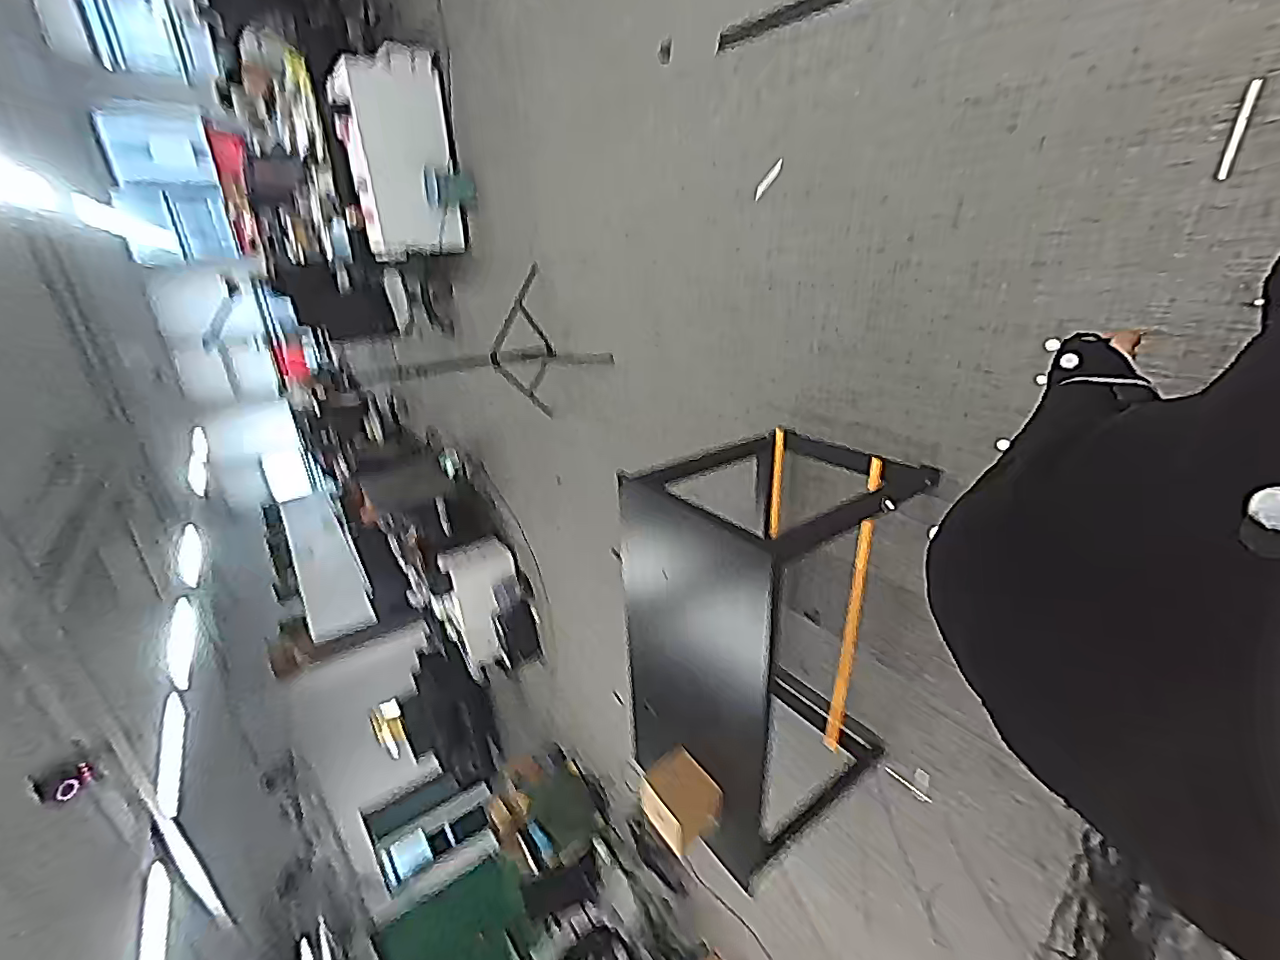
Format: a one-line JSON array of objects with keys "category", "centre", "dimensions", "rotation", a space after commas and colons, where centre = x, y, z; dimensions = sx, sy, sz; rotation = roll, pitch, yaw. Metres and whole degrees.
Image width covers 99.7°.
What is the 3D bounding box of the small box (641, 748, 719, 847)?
[{"category": "small box", "centre": [0.118, 0.962, 1.662], "dimensions": [0.179, 0.176, 0.168], "rotation": [31, 131, 46]}]
